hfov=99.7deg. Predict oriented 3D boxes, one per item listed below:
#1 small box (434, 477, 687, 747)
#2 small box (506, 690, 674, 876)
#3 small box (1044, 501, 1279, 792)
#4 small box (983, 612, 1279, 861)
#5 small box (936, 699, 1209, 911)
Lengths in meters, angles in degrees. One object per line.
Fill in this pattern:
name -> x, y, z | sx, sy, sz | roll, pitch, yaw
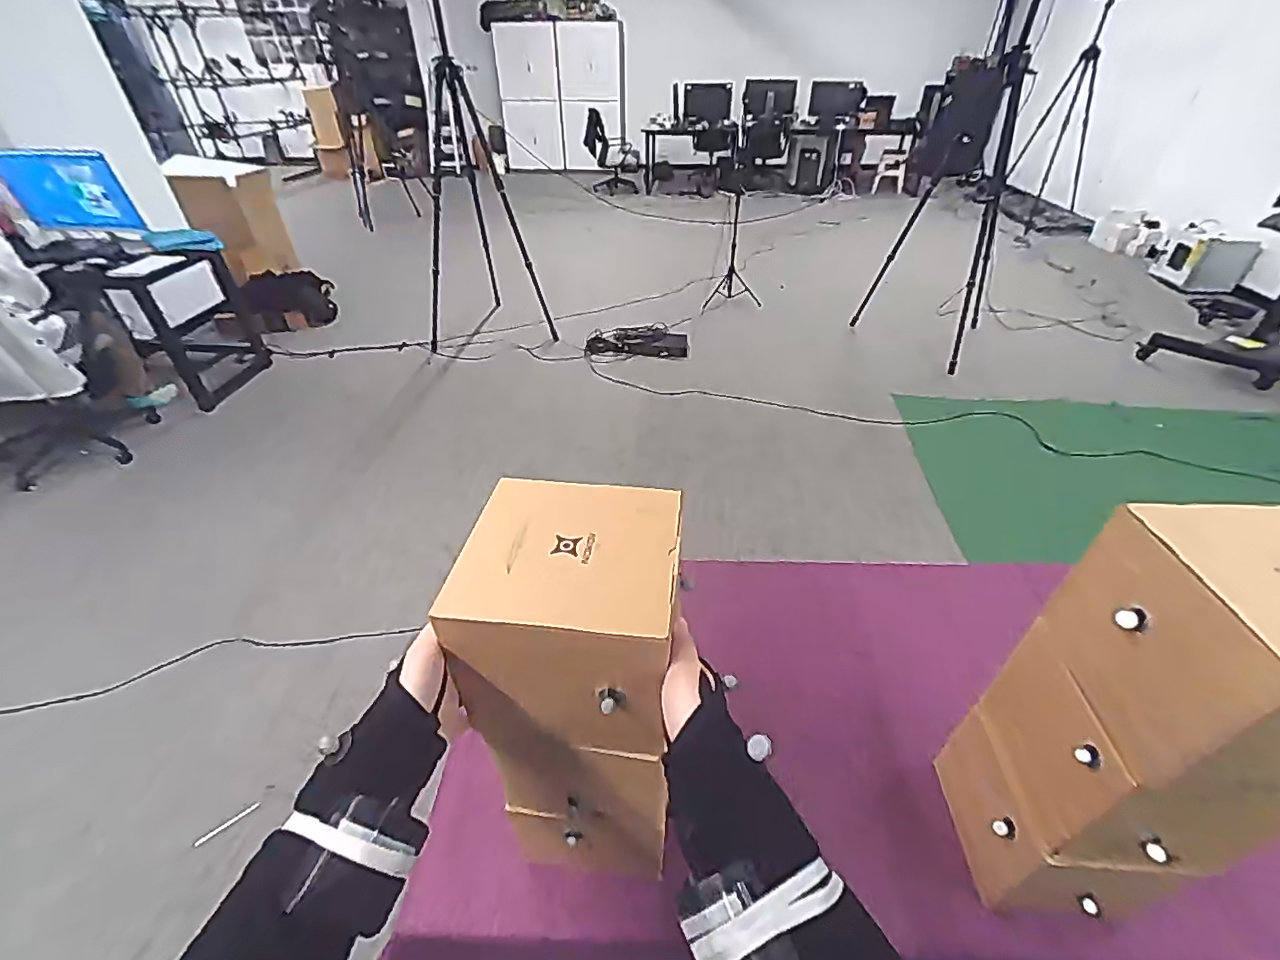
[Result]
small box -> -0.053, 0.118, 0.488 | 0.179, 0.176, 0.168 | 4, 38, 5
small box -> -0.051, 0.377, 0.690 | 0.179, 0.176, 0.168 | 4, 39, 5
small box -> 0.497, 0.136, 0.456 | 0.168, 0.176, 0.179 | -1, 39, 1
small box -> 0.499, 0.262, 0.562 | 0.168, 0.176, 0.179 | 2, 40, 3
small box -> 0.495, 0.394, 0.658 | 0.168, 0.176, 0.179 | 2, 38, 3
